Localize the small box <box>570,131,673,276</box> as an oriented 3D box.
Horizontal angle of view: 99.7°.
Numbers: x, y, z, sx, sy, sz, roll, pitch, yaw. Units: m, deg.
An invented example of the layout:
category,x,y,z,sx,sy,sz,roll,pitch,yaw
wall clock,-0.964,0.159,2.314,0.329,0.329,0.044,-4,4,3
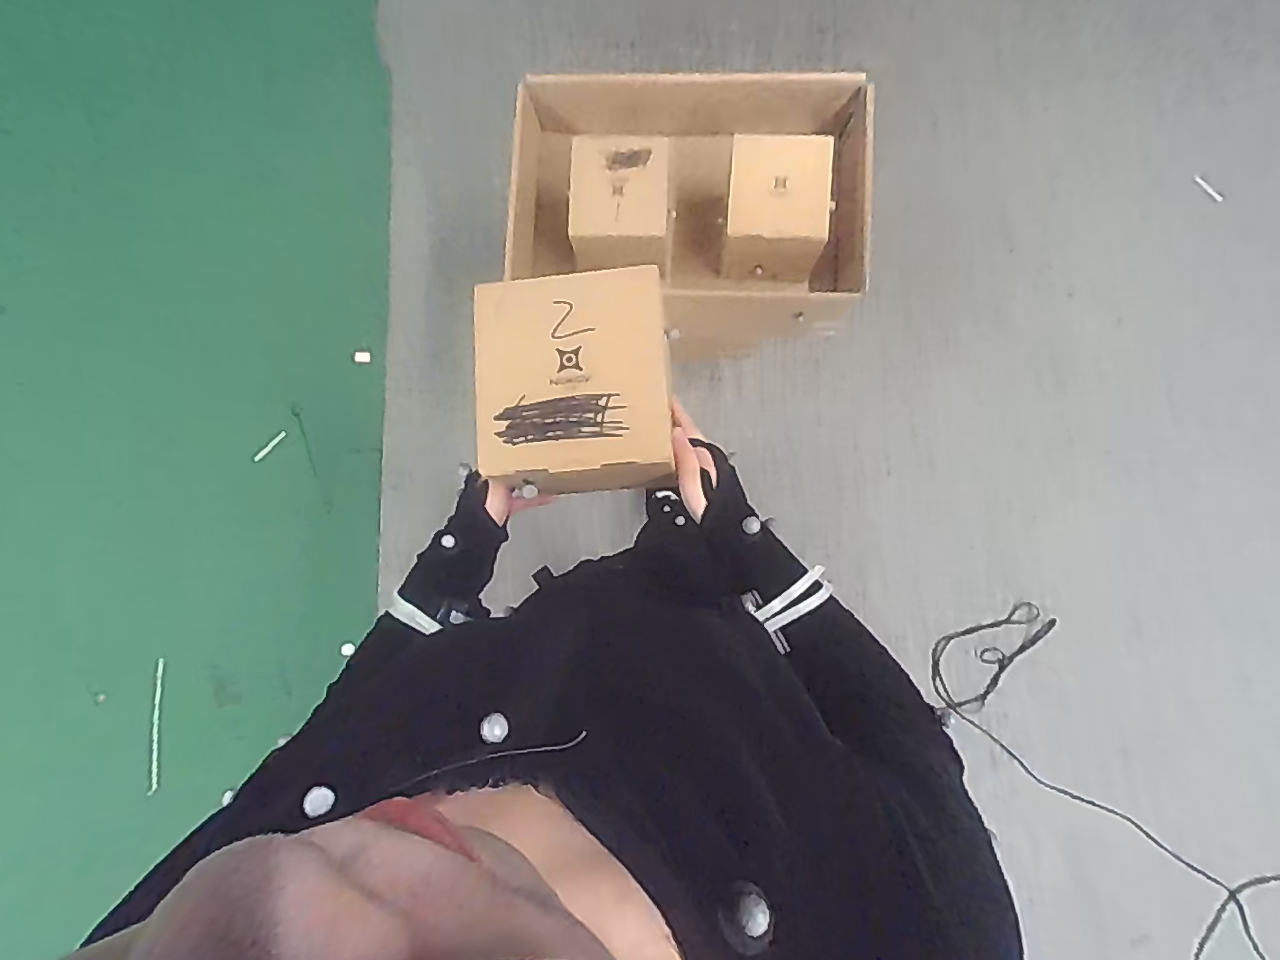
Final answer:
category,x,y,z,sx,sy,sz,roll,pitch,yaw
small box,-0.027,-0.491,0.976,0.168,0.176,0.179,2,88,4
